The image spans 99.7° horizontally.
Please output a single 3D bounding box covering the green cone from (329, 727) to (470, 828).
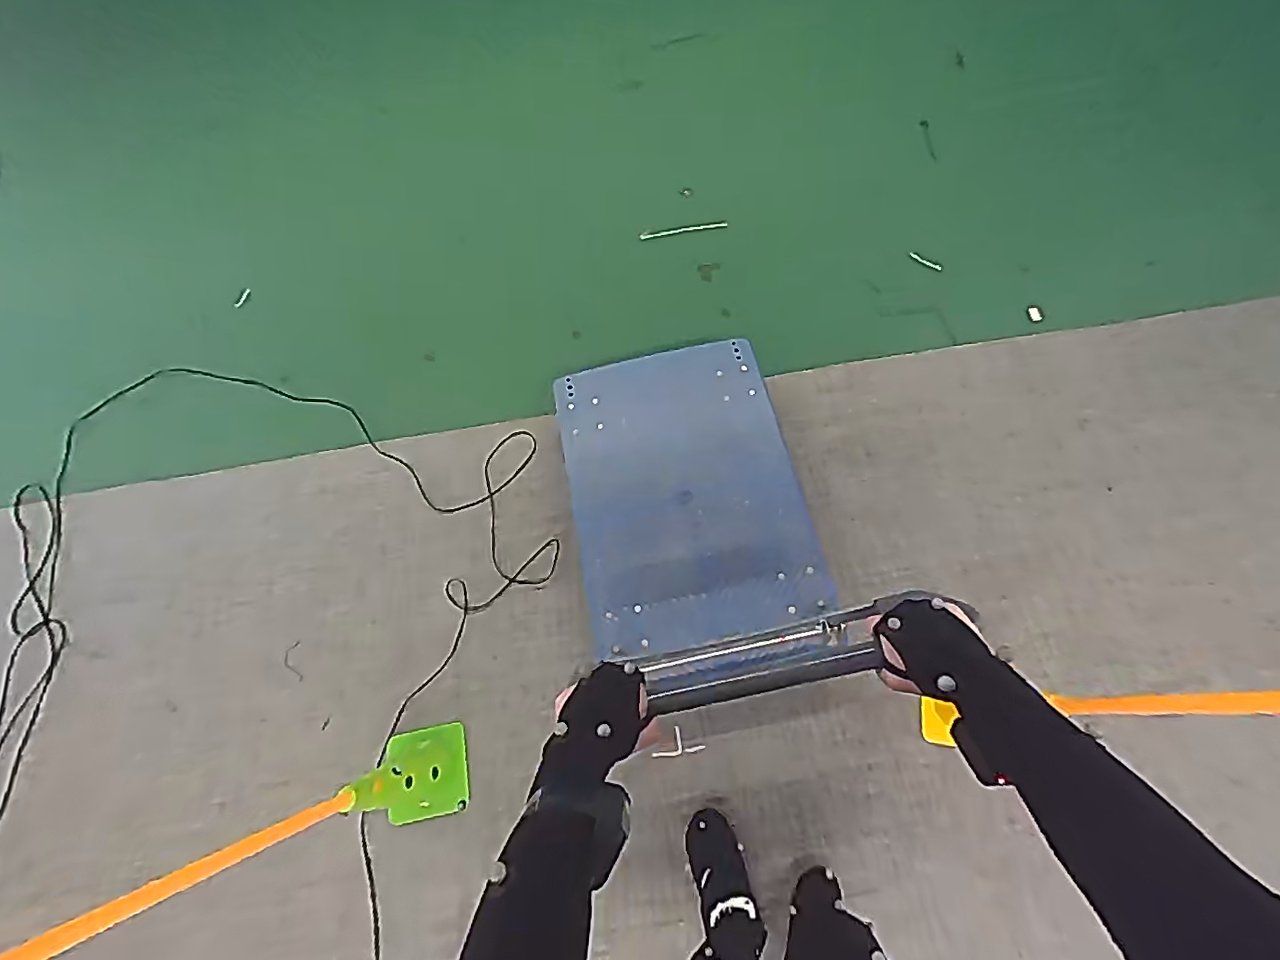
[{"bbox_3d":[-0.544,0.672,1.184,0.202,0.368,0.200,-14,68,1],"label":"green cone"}]
